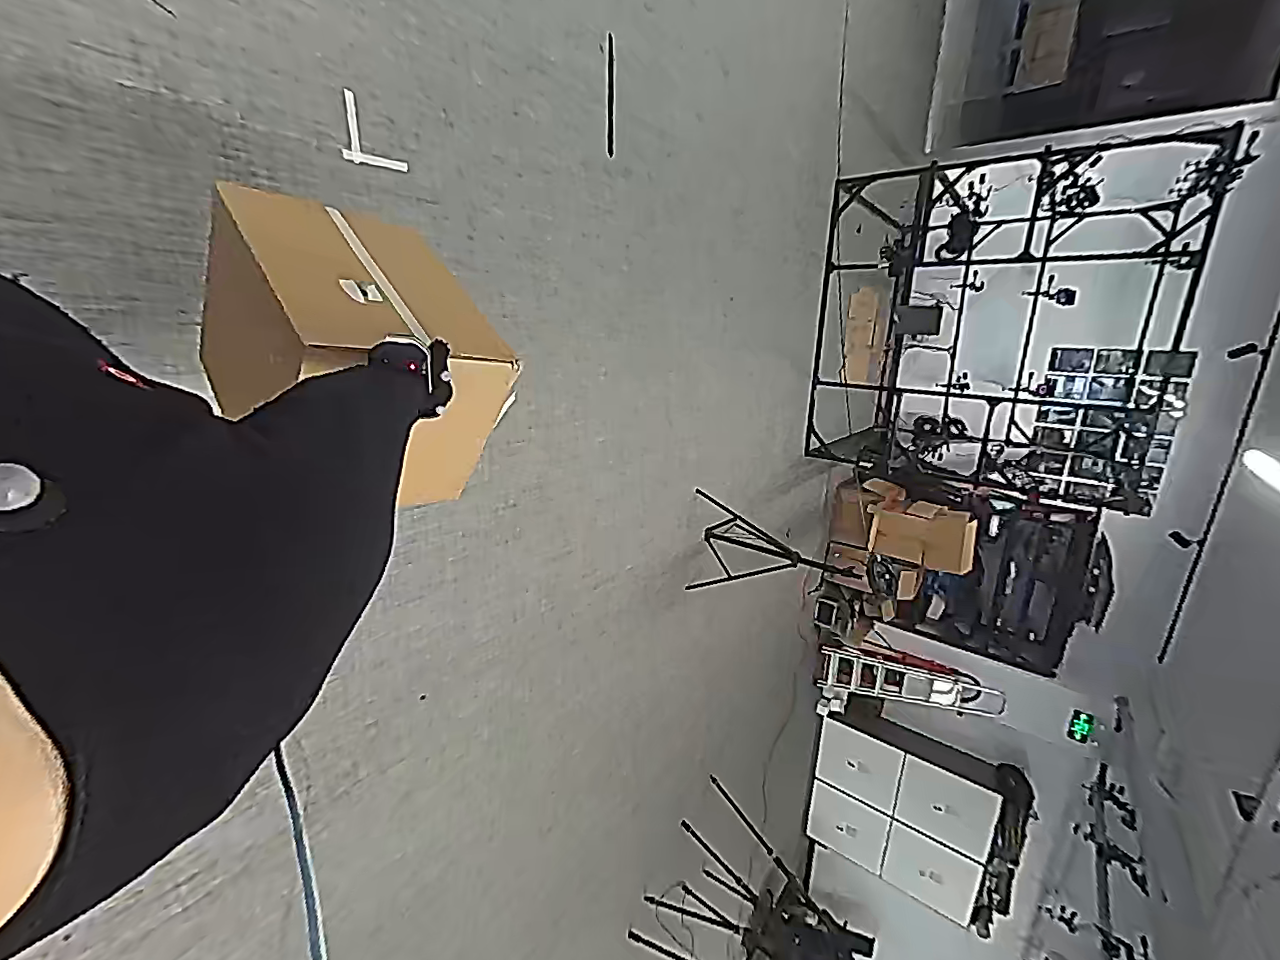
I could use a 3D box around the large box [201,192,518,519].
[{"bbox_3d":[-0.486,-0.196,0.914,0.320,0.408,0.320,-9,143,-50],"label":"large box"}]
